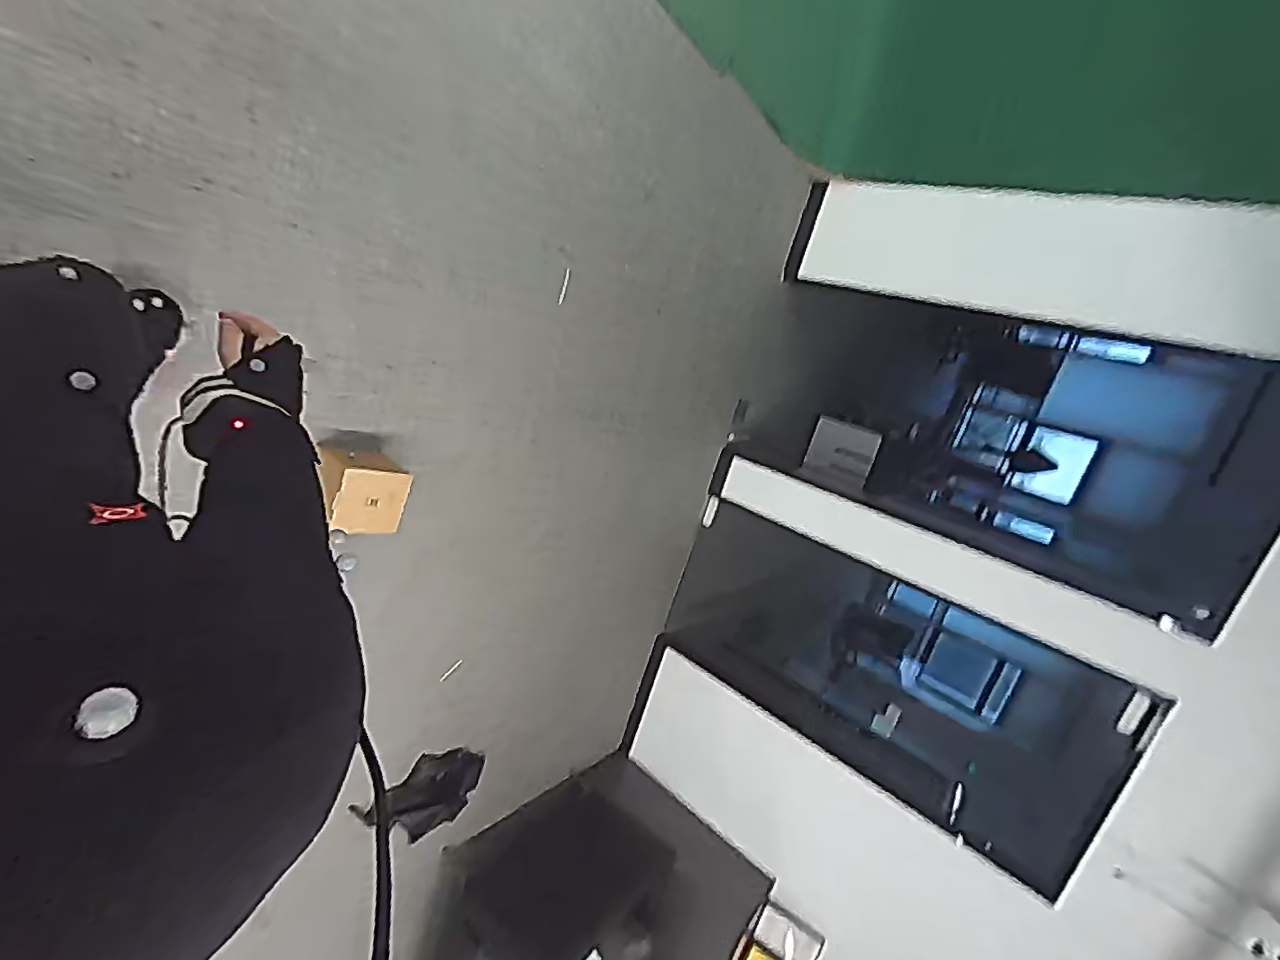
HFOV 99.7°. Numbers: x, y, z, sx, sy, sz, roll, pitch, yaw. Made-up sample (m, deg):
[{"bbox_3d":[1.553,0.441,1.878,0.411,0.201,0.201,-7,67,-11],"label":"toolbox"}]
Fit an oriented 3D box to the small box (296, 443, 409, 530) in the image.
[{"bbox_3d":[-0.720,0.017,1.350,0.179,0.176,0.168,8,107,-57],"label":"small box"}]
